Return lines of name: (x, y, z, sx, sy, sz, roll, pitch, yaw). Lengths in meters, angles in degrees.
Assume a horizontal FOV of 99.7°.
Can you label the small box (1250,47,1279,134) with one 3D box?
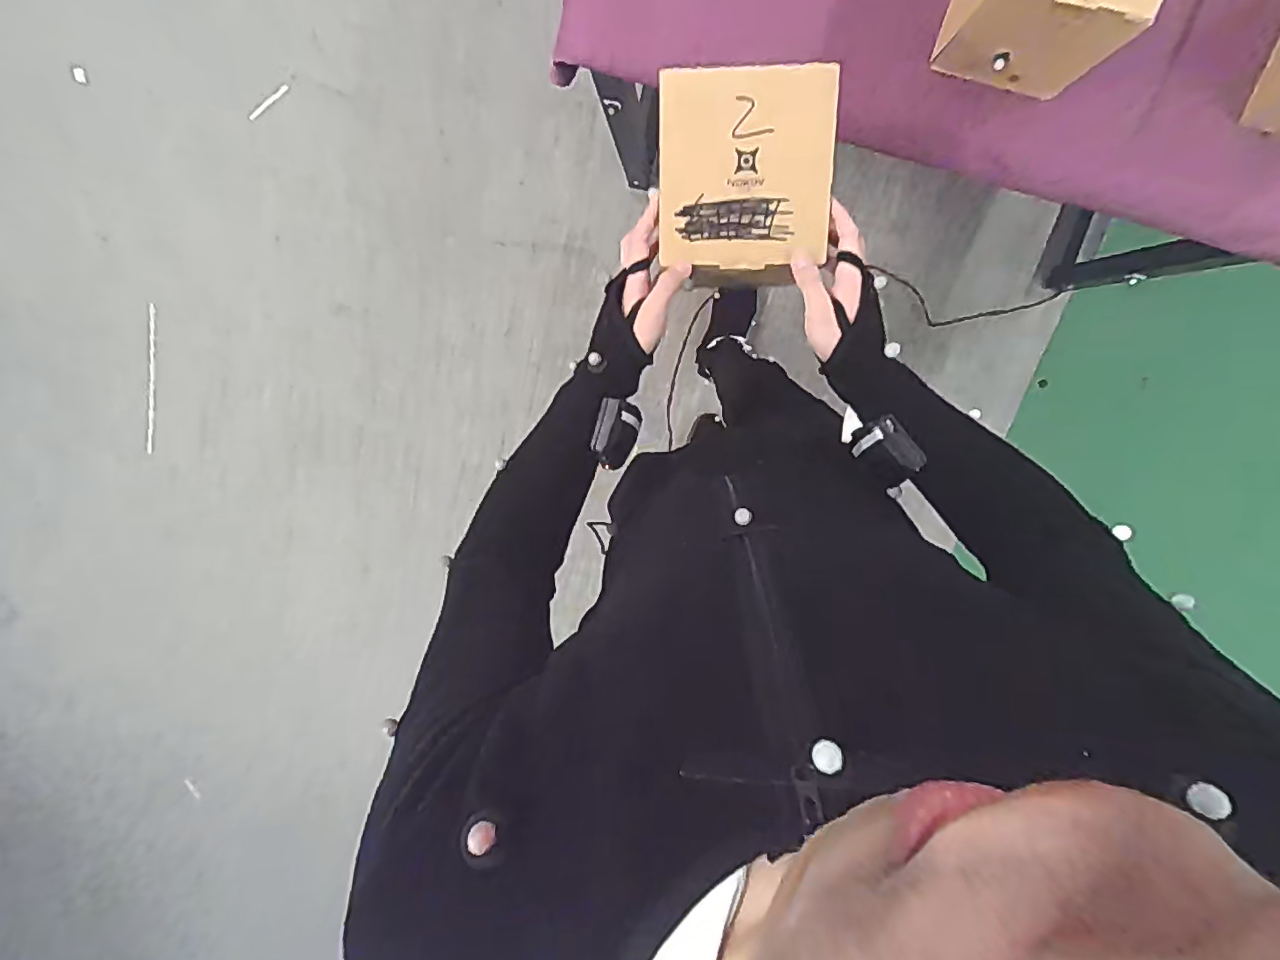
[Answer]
small box: (0.866, -0.500, 0.597, 0.168, 0.176, 0.179, 18, 103, 2)
